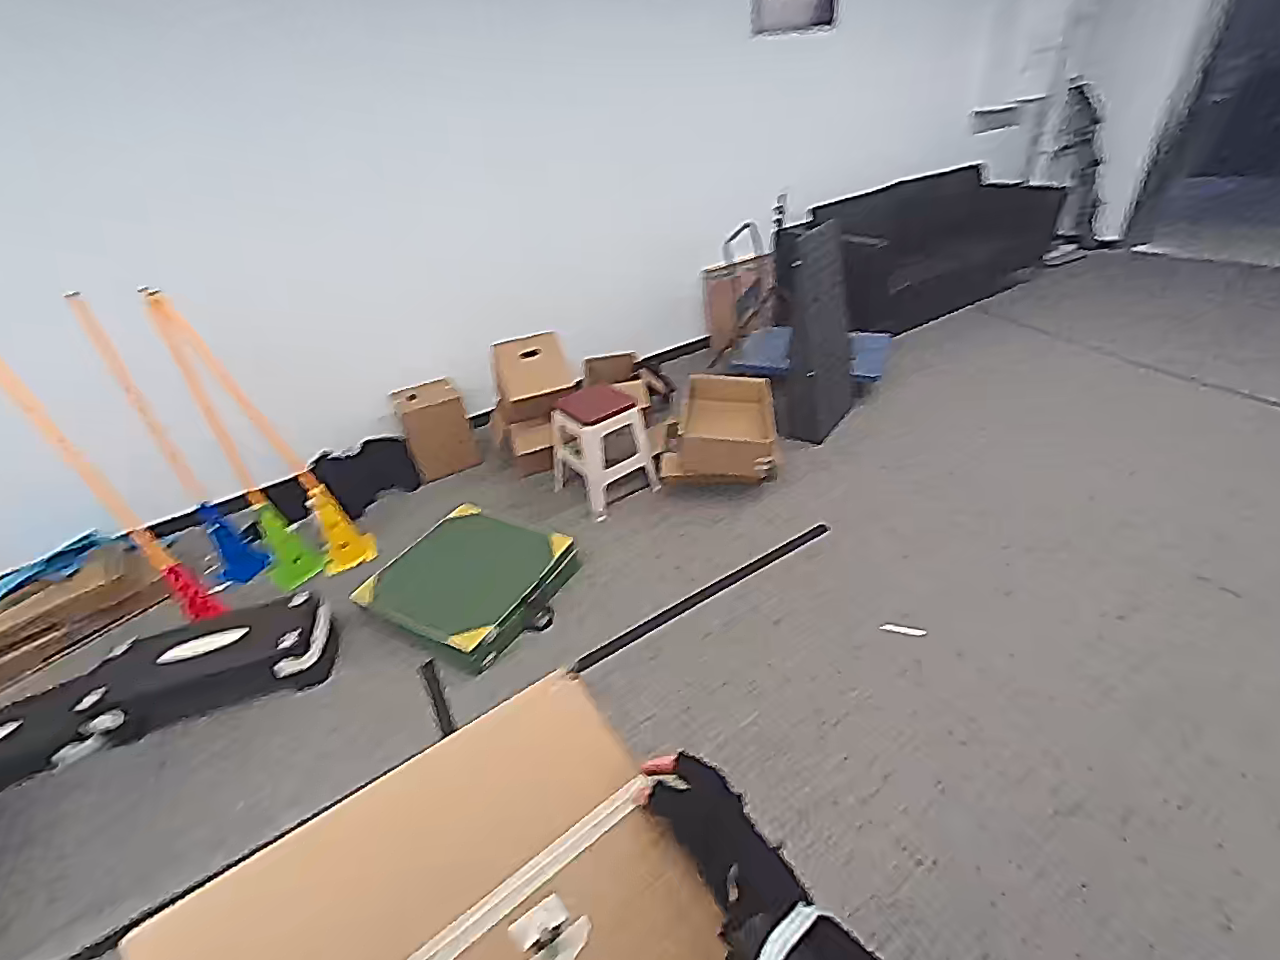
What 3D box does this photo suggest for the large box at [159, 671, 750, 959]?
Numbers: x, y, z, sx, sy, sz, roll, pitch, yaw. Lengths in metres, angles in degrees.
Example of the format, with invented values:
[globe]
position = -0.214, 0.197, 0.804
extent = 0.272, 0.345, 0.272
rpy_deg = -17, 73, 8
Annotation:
[large box]
position = -0.156, 0.491, 0.548
extent = 0.408, 0.320, 0.320
rpy_deg = -25, 49, -28
